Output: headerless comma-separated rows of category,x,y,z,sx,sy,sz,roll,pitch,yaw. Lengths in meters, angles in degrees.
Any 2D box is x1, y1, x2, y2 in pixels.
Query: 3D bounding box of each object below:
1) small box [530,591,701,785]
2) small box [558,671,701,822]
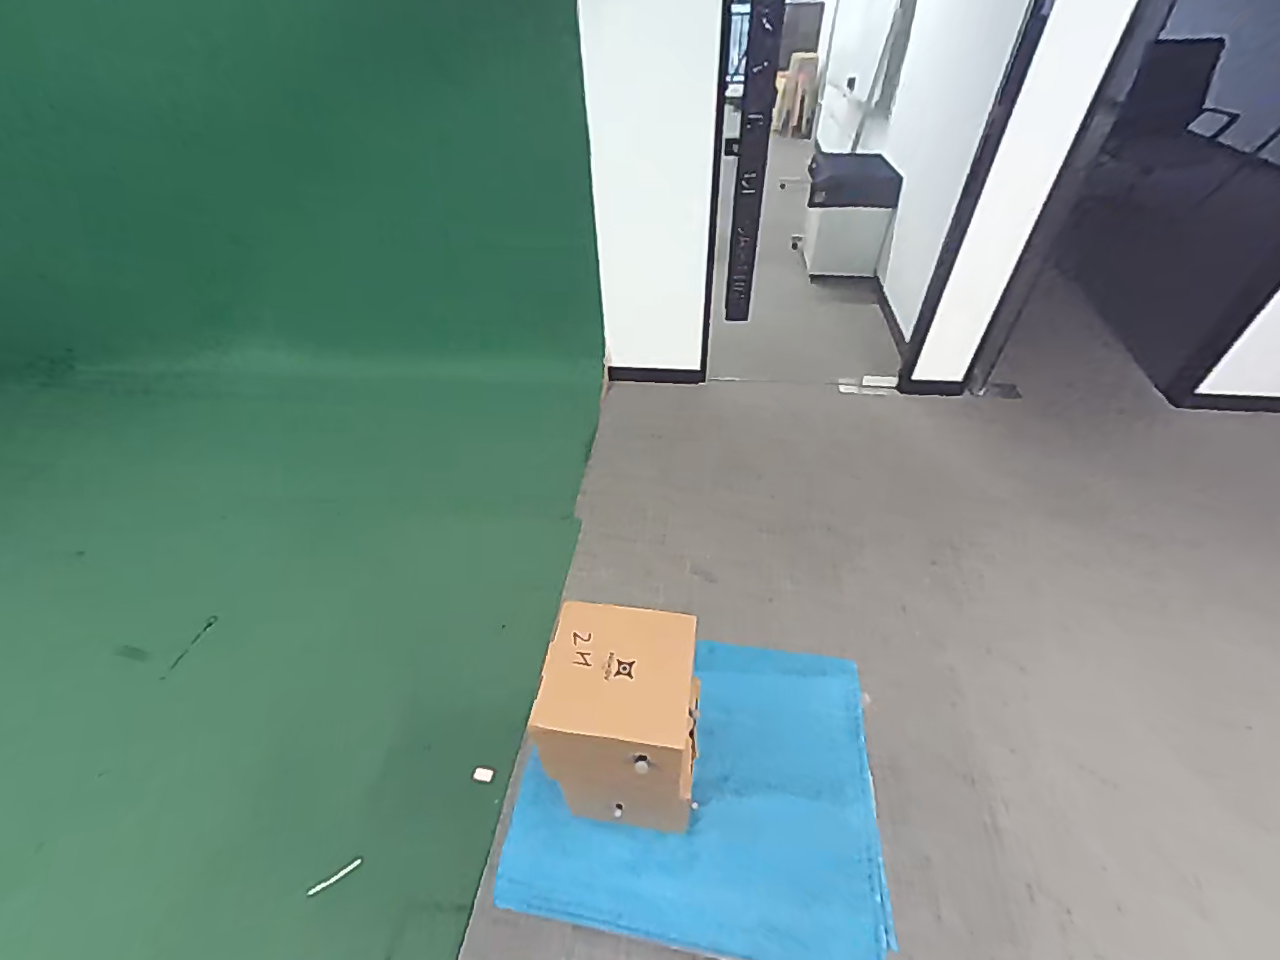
small box,-0.021,0.266,0.686,0.179,0.176,0.168,5,44,7
small box,-0.007,0.384,0.800,0.179,0.176,0.168,5,44,8
